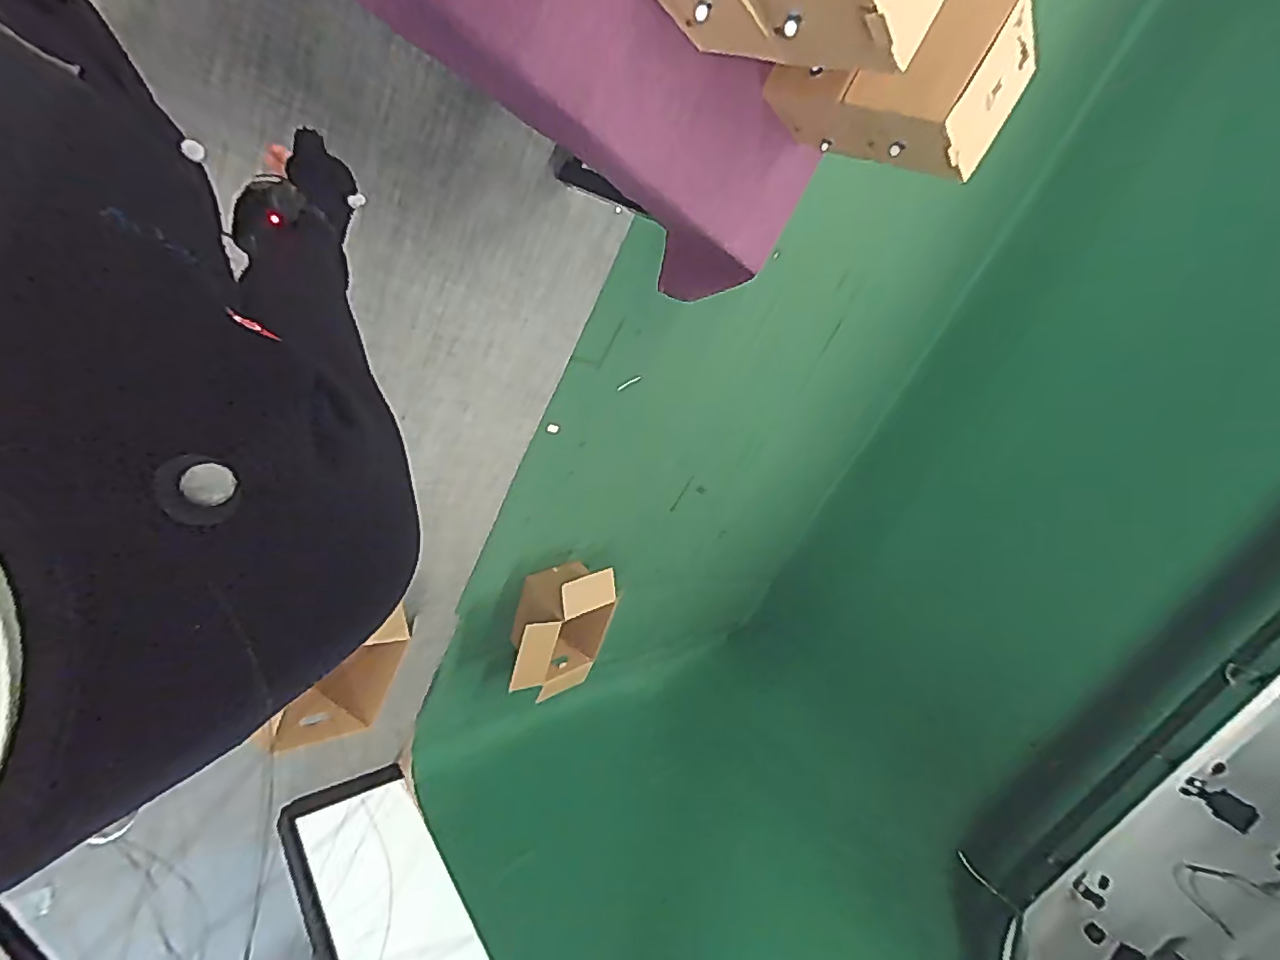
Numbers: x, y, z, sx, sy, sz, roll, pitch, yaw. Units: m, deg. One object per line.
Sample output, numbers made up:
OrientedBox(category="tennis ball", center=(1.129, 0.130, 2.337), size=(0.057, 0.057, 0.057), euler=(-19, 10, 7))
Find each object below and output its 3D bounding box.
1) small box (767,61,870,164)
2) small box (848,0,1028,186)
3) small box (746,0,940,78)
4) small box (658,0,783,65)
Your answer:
OrientedBox(category="small box", center=(0.338, -0.676, 0.910), size=(0.168, 0.176, 0.179), euler=(8, 116, -52))
OrientedBox(category="small box", center=(0.439, -0.588, 0.814), size=(0.168, 0.176, 0.179), euler=(8, 117, -53))
OrientedBox(category="small box", center=(0.231, -0.585, 0.582), size=(0.168, 0.176, 0.179), euler=(9, 115, -52))
OrientedBox(category="small box", center=(0.122, -0.668, 0.673), size=(0.168, 0.176, 0.179), euler=(4, 118, -50))
